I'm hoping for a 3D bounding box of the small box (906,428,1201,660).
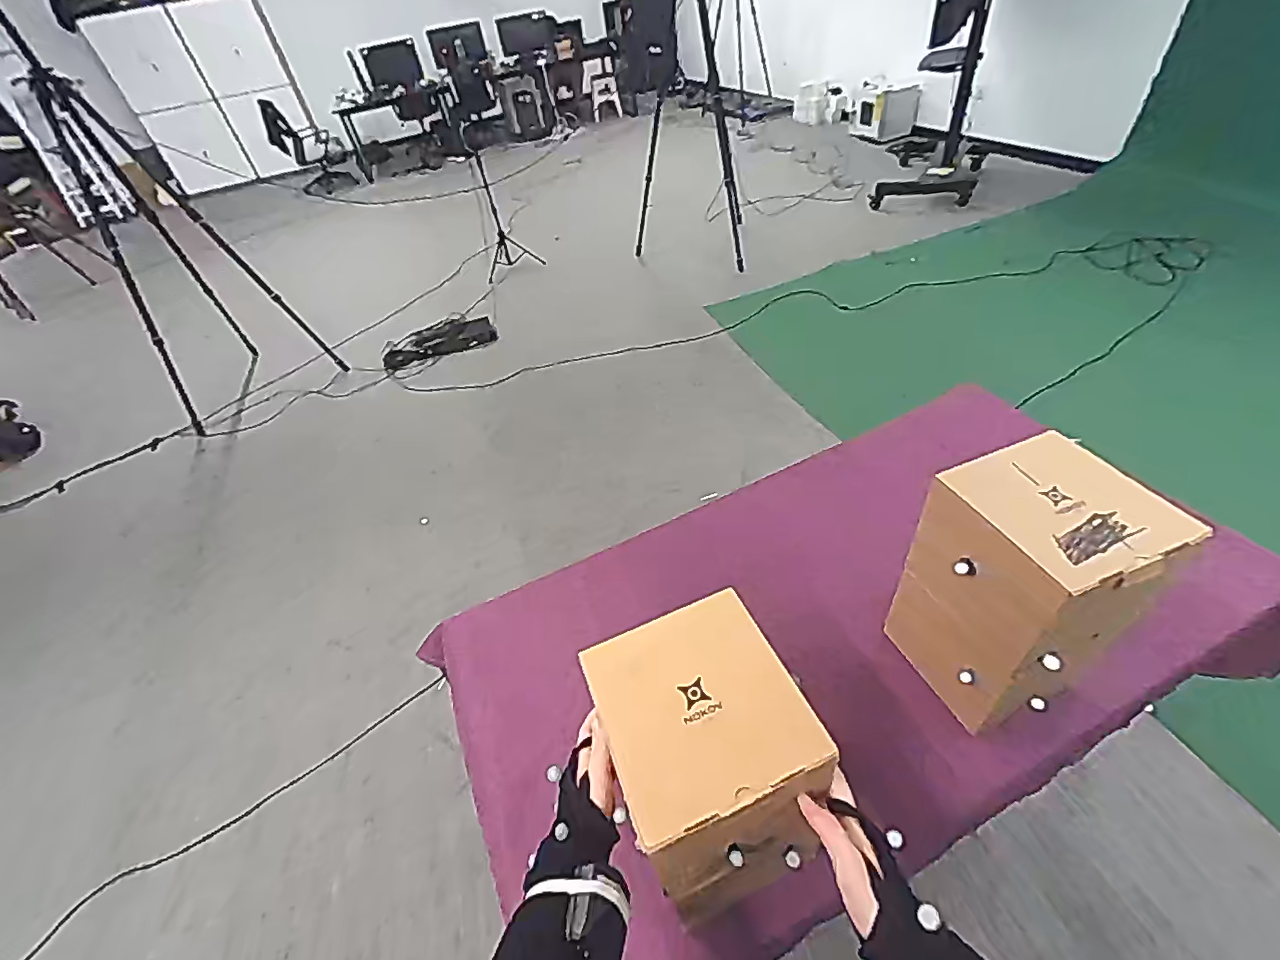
[{"bbox_3d":[0.435,0.076,0.607,0.168,0.176,0.179,-20,43,-8],"label":"small box"}]

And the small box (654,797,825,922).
[{"bbox_3d":[0.085,0.367,0.625,0.179,0.176,0.168,-22,43,-10],"label":"small box"}]

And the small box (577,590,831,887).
[{"bbox_3d":[0.054,0.245,0.519,0.168,0.176,0.179,-21,45,-10],"label":"small box"}]
